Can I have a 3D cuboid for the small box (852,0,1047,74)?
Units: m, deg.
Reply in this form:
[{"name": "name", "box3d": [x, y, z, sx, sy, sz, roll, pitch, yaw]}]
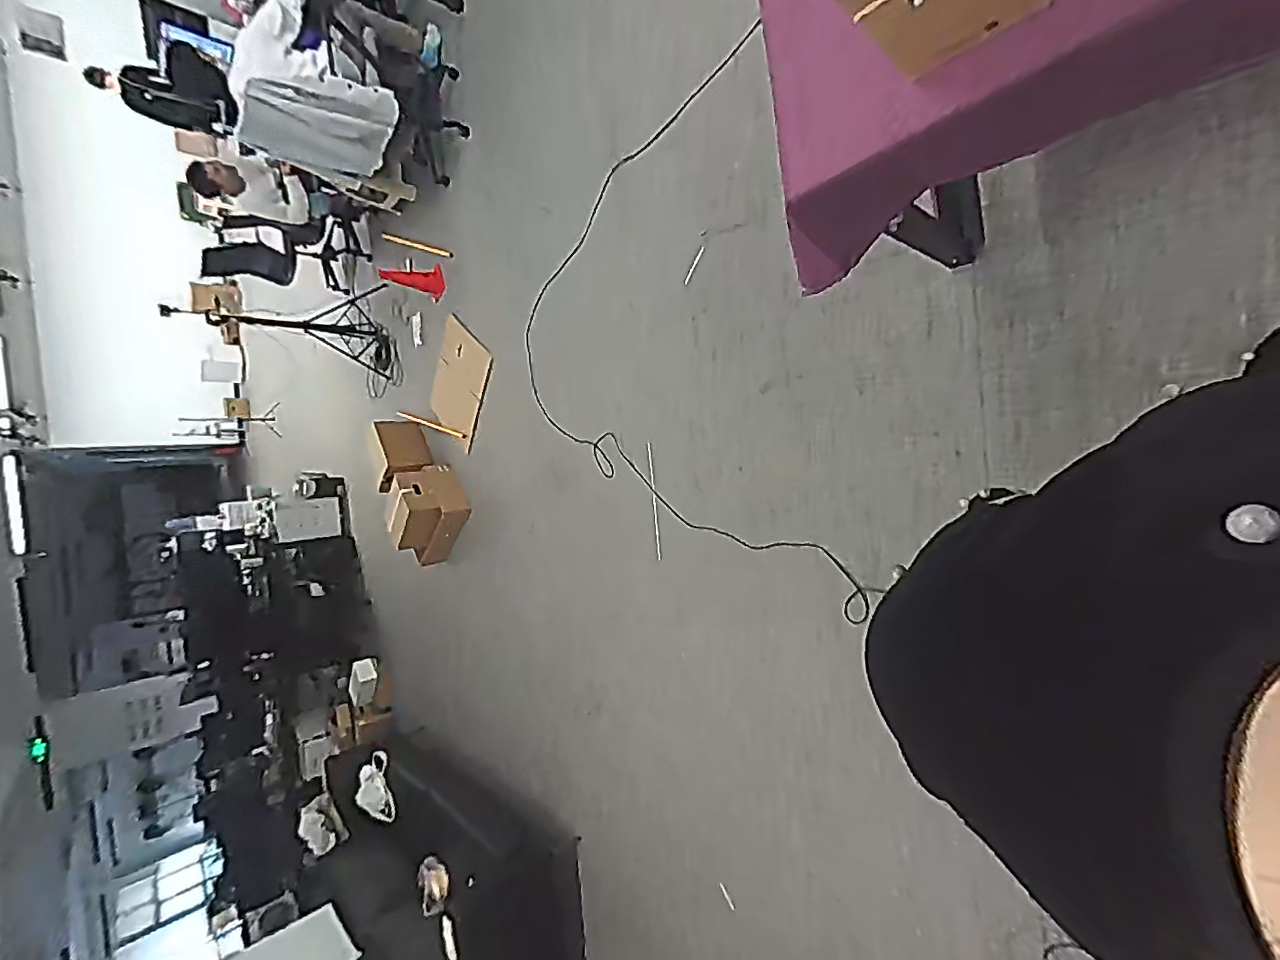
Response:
[{"name": "small box", "box3d": [0.356, -0.628, 0.622, 0.168, 0.176, 0.179, -3, 92, 48]}]
